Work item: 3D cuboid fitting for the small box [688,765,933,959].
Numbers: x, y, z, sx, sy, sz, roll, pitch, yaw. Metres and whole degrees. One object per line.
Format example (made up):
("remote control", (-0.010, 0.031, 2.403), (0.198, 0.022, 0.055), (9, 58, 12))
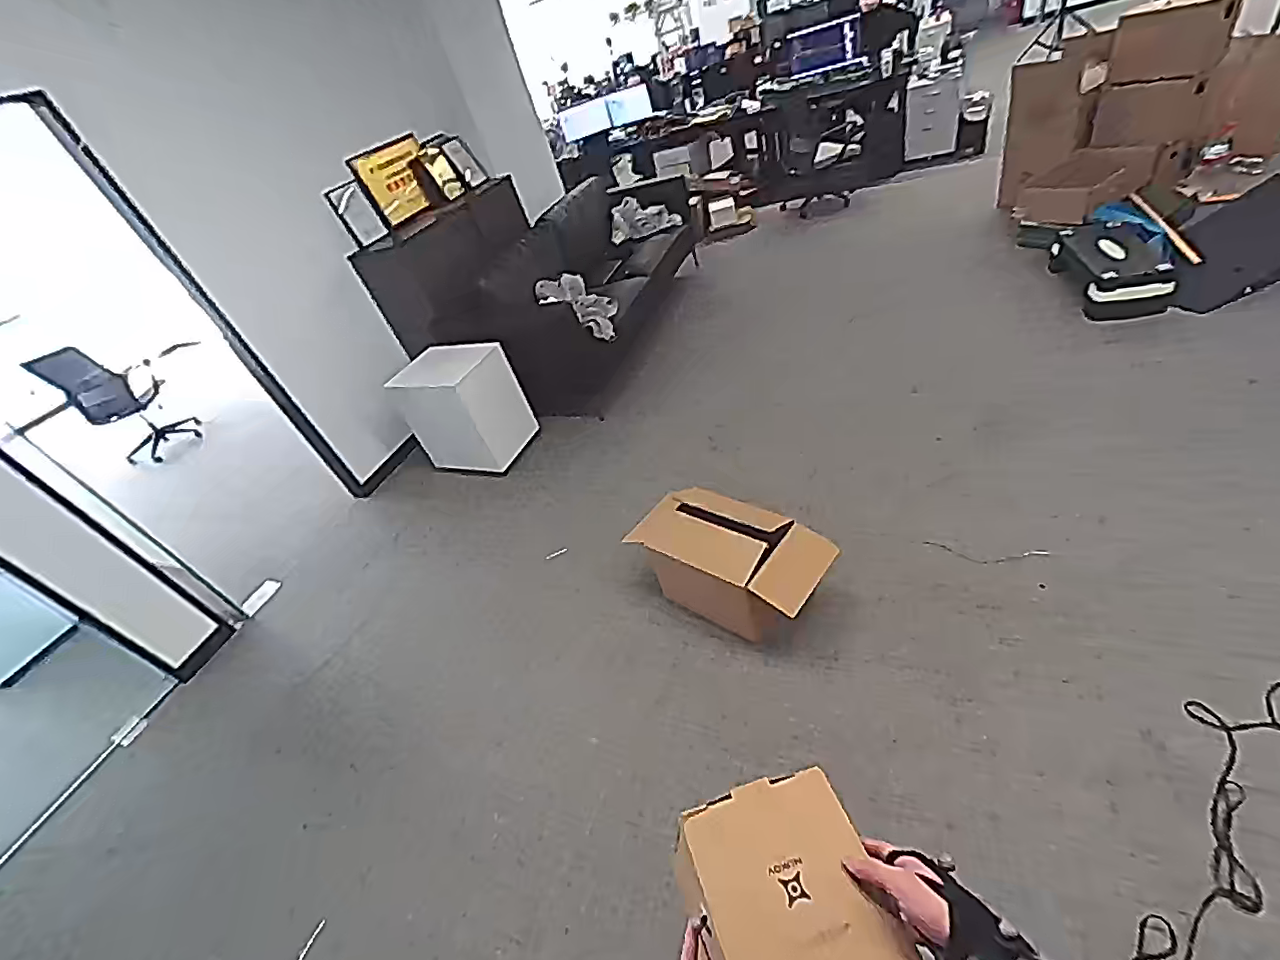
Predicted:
("small box", (0.150, 0.429, 0.546), (0.168, 0.176, 0.179), (-11, 41, -10))
